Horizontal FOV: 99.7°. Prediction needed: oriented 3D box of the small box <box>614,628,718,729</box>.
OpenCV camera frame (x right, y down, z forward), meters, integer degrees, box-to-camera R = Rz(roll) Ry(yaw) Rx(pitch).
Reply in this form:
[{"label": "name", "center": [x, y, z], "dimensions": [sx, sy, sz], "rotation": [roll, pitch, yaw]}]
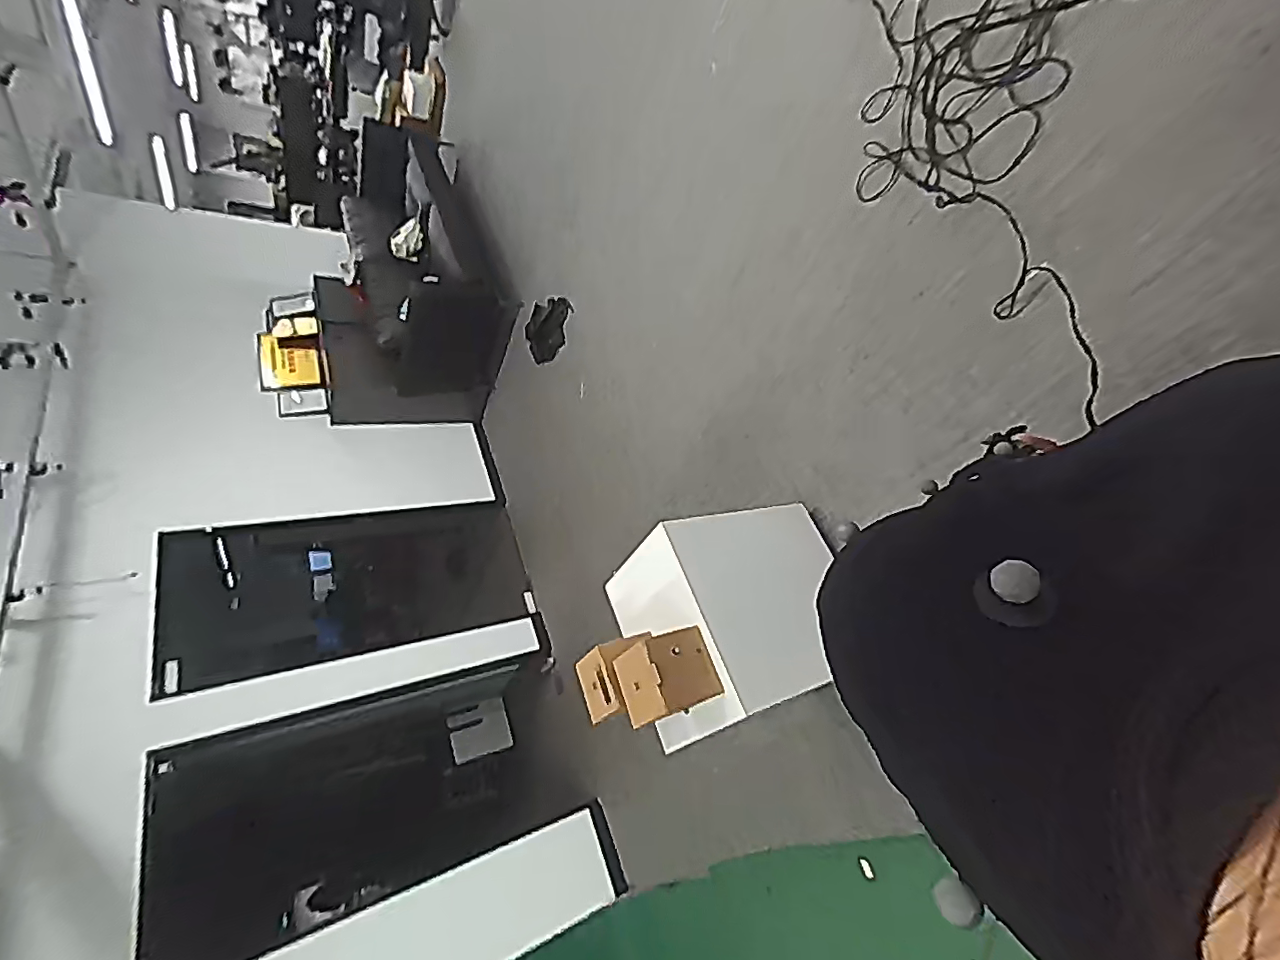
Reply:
[{"label": "small box", "center": [0.066, 0.469, 1.291], "dimensions": [0.179, 0.176, 0.168], "rotation": [-54, 49, 47]}]
